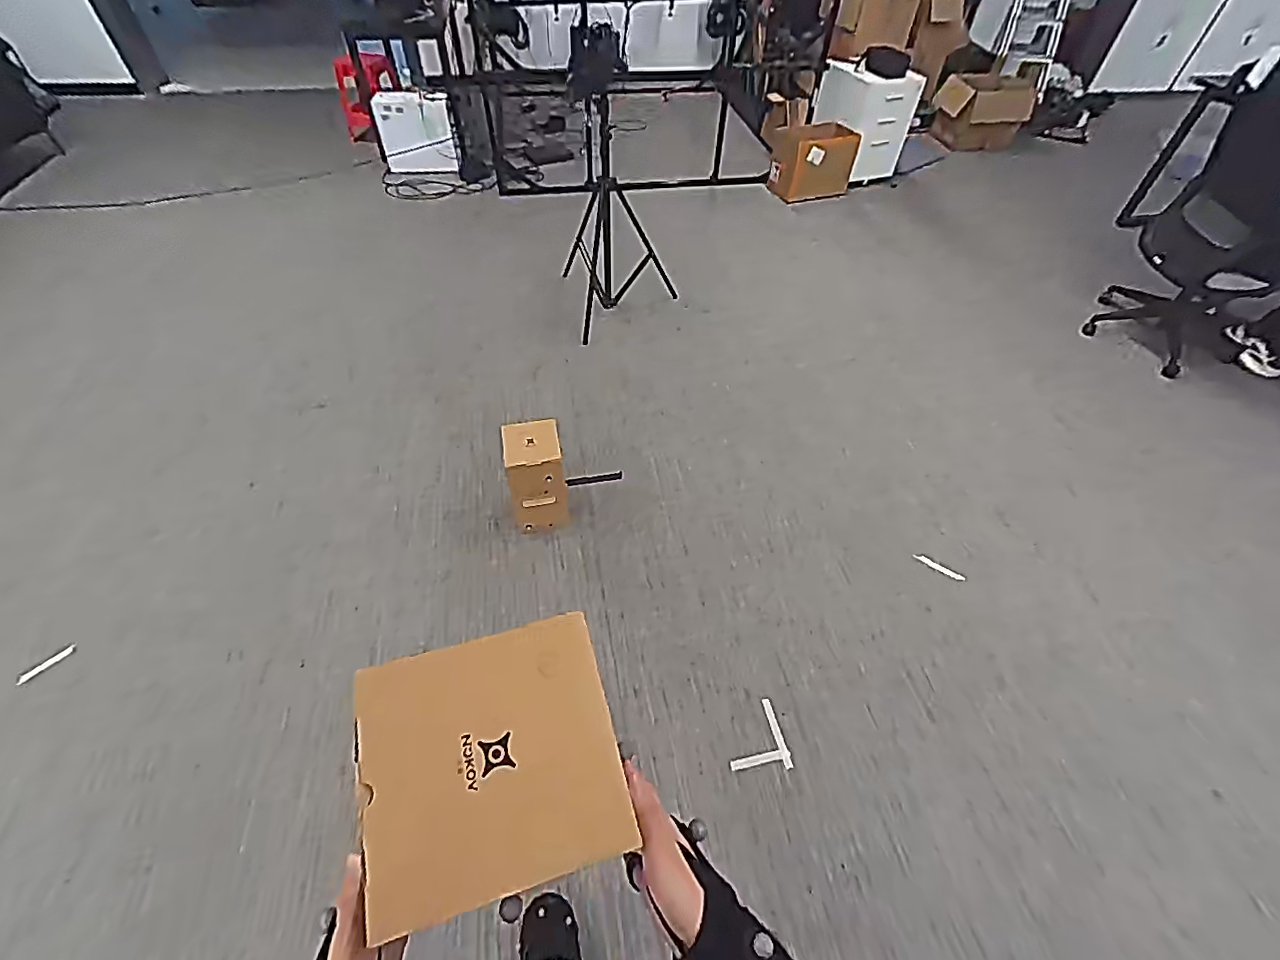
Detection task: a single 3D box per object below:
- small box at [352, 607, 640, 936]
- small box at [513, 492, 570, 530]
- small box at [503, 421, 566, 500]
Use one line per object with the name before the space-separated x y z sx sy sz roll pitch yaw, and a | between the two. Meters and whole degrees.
small box | -0.110 0.225 0.448 0.179 0.176 0.168 -14 64 -11
small box | -0.329 0.051 1.796 0.168 0.176 0.179 -9 50 -9
small box | -0.324 -0.054 1.673 0.168 0.176 0.179 -9 50 -10
